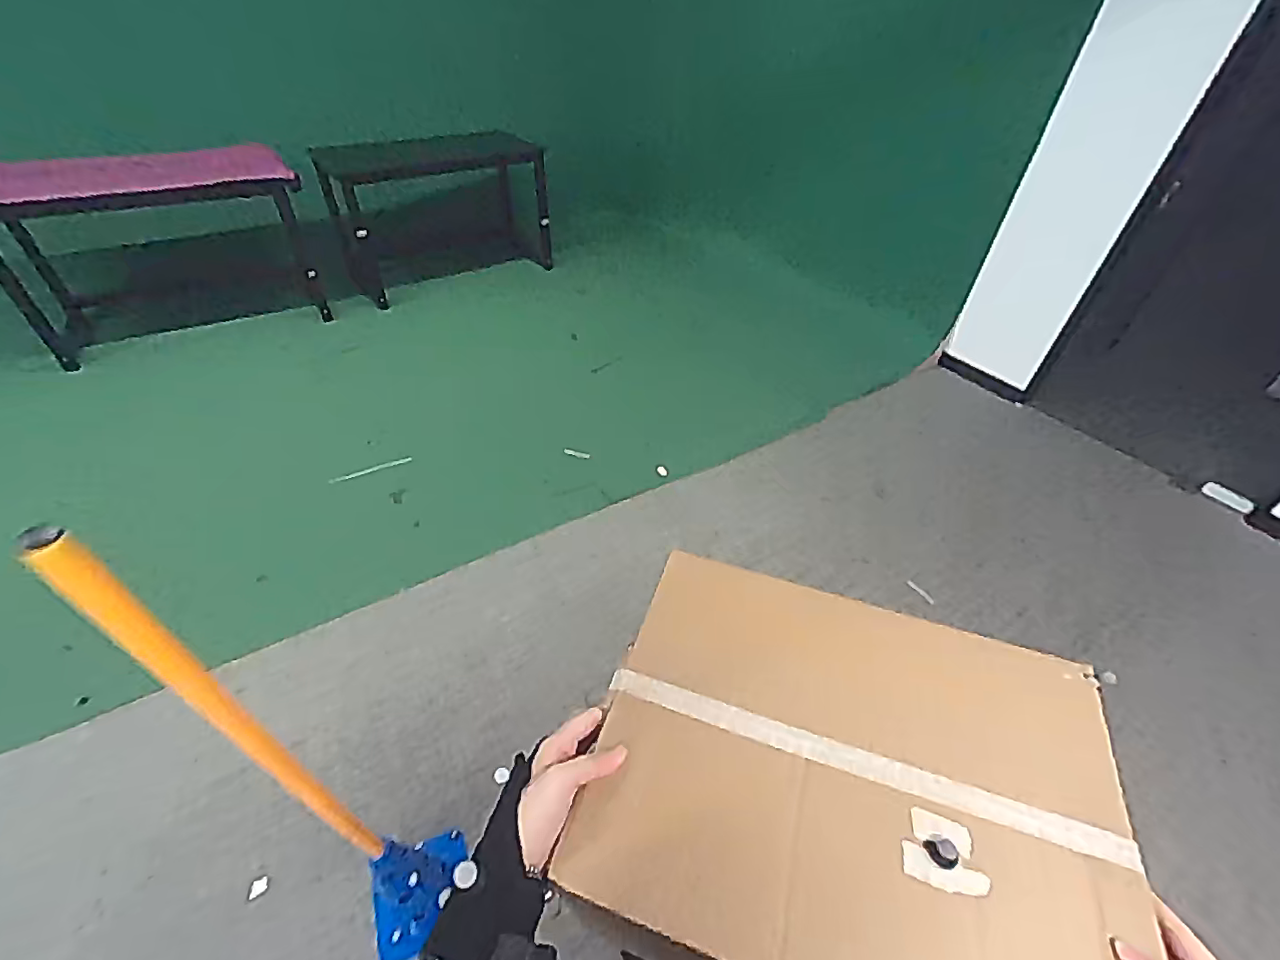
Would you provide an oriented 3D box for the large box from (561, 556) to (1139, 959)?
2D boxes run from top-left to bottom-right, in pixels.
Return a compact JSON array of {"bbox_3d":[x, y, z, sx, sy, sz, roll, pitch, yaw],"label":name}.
[{"bbox_3d":[0.169,0.334,0.562,0.408,0.320,0.320,15,48,13],"label":"large box"}]

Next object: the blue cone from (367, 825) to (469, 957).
[{"bbox_3d":[-0.471,0.778,1.075,0.193,0.380,0.192,-14,44,-19],"label":"blue cone"}]
